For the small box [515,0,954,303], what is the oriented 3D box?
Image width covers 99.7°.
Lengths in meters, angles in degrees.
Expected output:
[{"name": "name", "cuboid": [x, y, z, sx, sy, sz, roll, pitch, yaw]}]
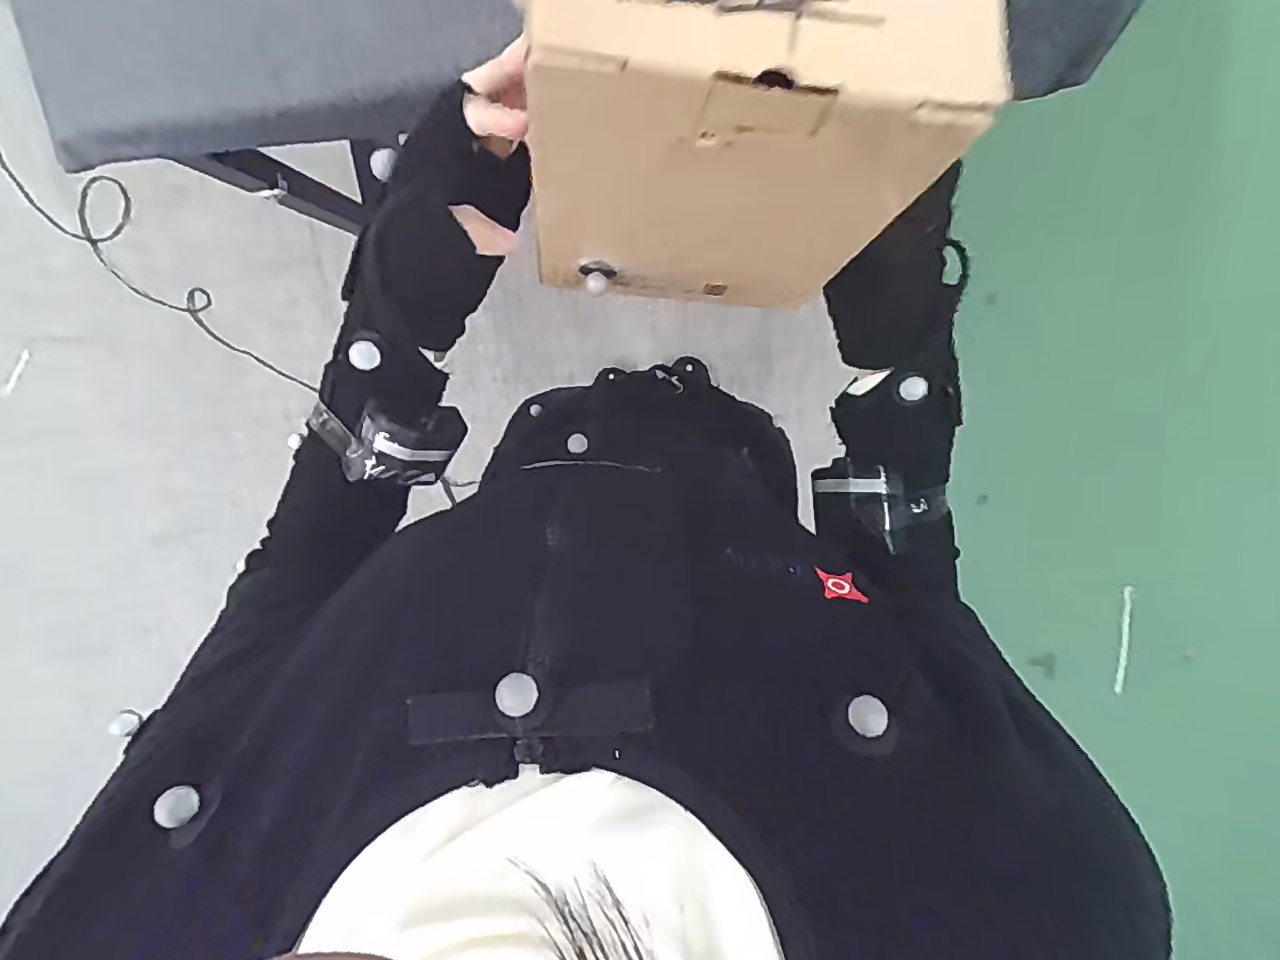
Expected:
[{"name": "small box", "cuboid": [0.031, -0.211, 0.281, 0.168, 0.176, 0.179, 4, 84, -9]}]
